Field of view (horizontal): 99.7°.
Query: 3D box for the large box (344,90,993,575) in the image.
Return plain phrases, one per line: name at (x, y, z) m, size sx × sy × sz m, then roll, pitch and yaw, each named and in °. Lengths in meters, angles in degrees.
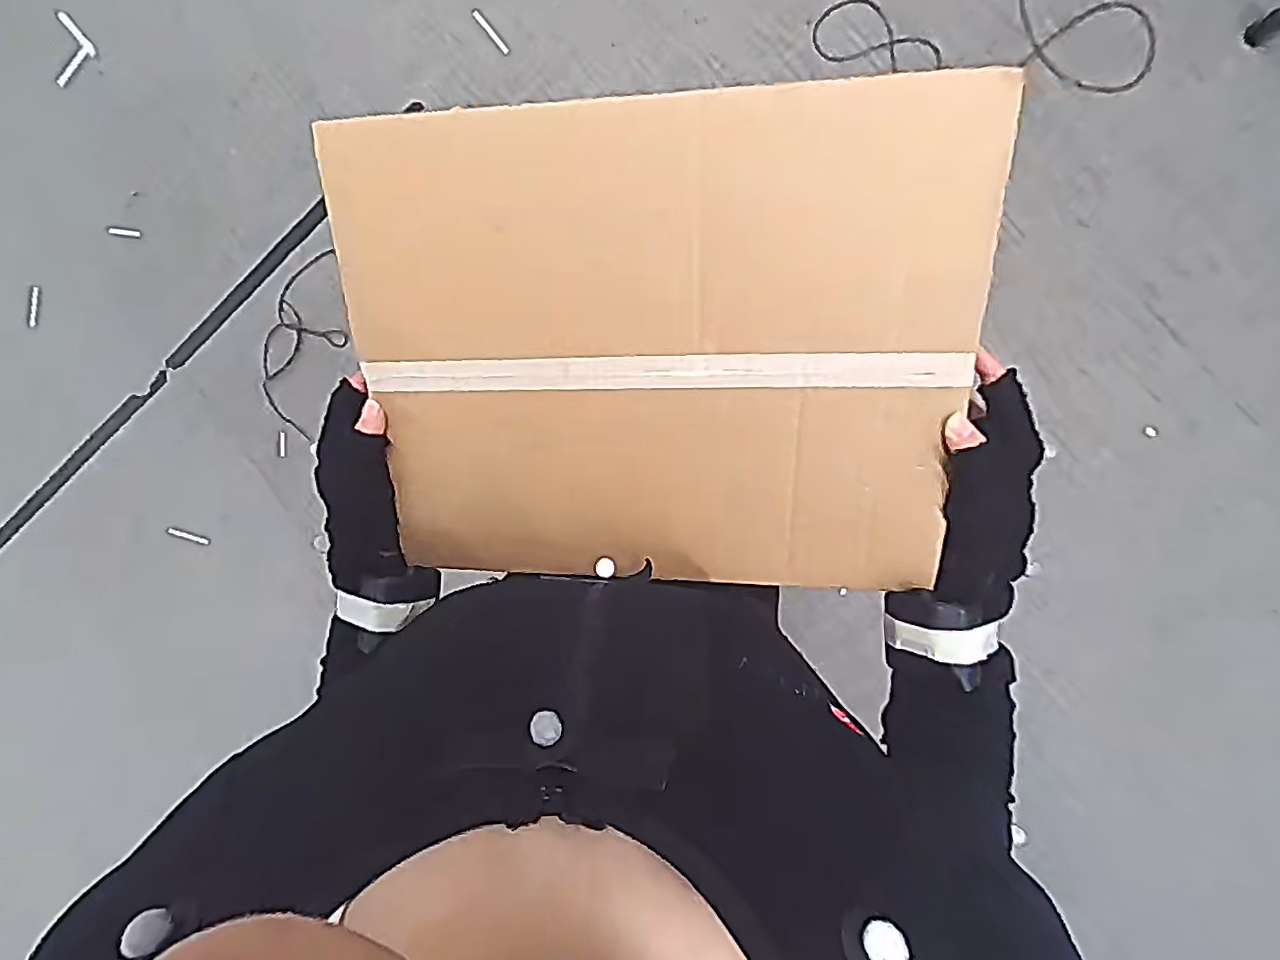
large box at (0.025, -0.124, 0.514) m, size 0.408 × 0.320 × 0.320 m, roll 1°, pitch 112°, yaw 8°
